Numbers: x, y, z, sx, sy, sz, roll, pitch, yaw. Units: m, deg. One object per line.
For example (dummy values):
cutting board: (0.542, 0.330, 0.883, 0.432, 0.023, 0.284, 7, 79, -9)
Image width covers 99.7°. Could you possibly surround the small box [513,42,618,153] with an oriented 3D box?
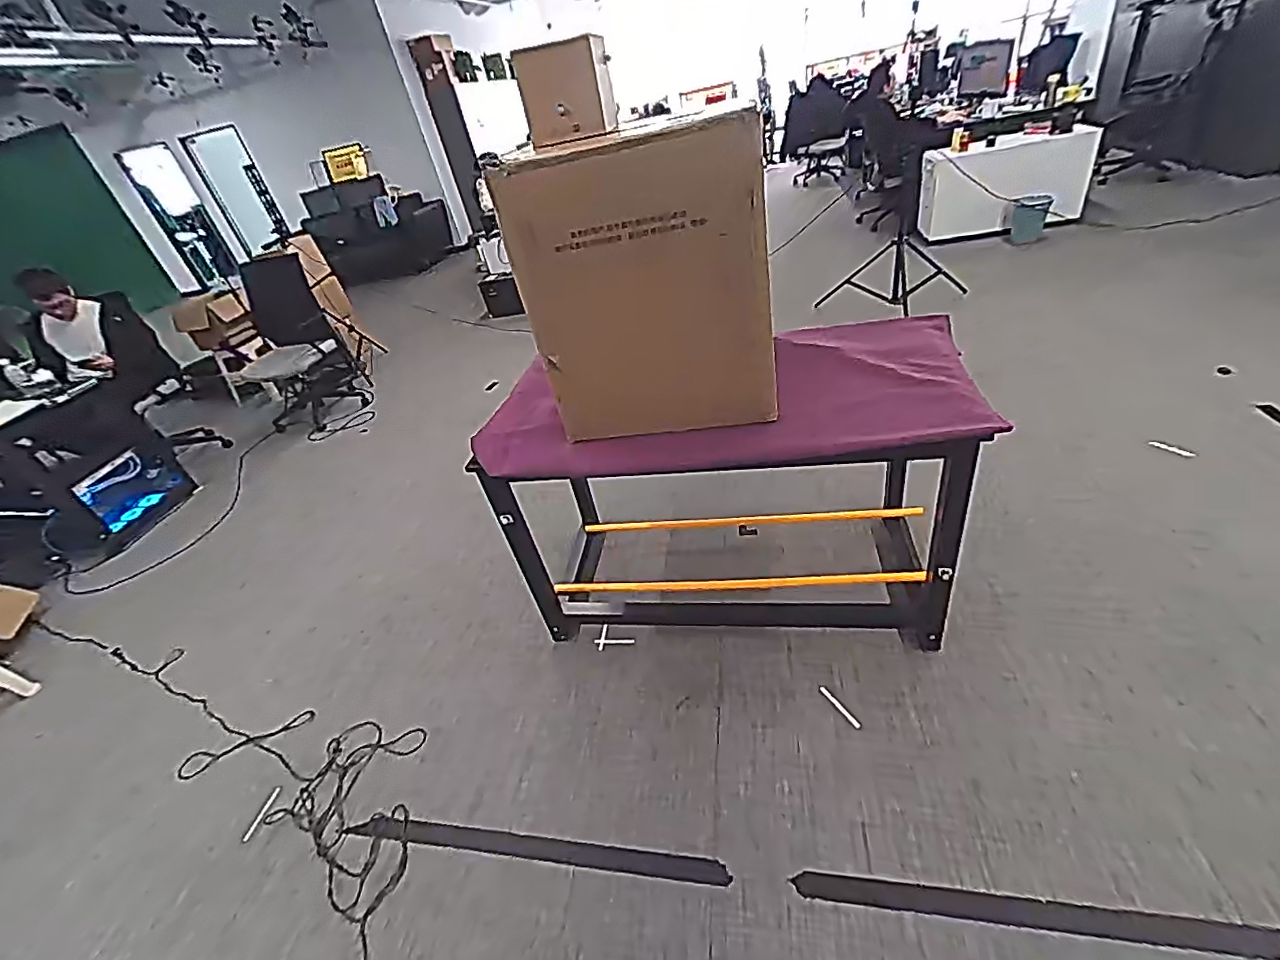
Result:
small box: (-0.150, -0.823, 1.171, 0.168, 0.176, 0.179, -4, 37, 12)
